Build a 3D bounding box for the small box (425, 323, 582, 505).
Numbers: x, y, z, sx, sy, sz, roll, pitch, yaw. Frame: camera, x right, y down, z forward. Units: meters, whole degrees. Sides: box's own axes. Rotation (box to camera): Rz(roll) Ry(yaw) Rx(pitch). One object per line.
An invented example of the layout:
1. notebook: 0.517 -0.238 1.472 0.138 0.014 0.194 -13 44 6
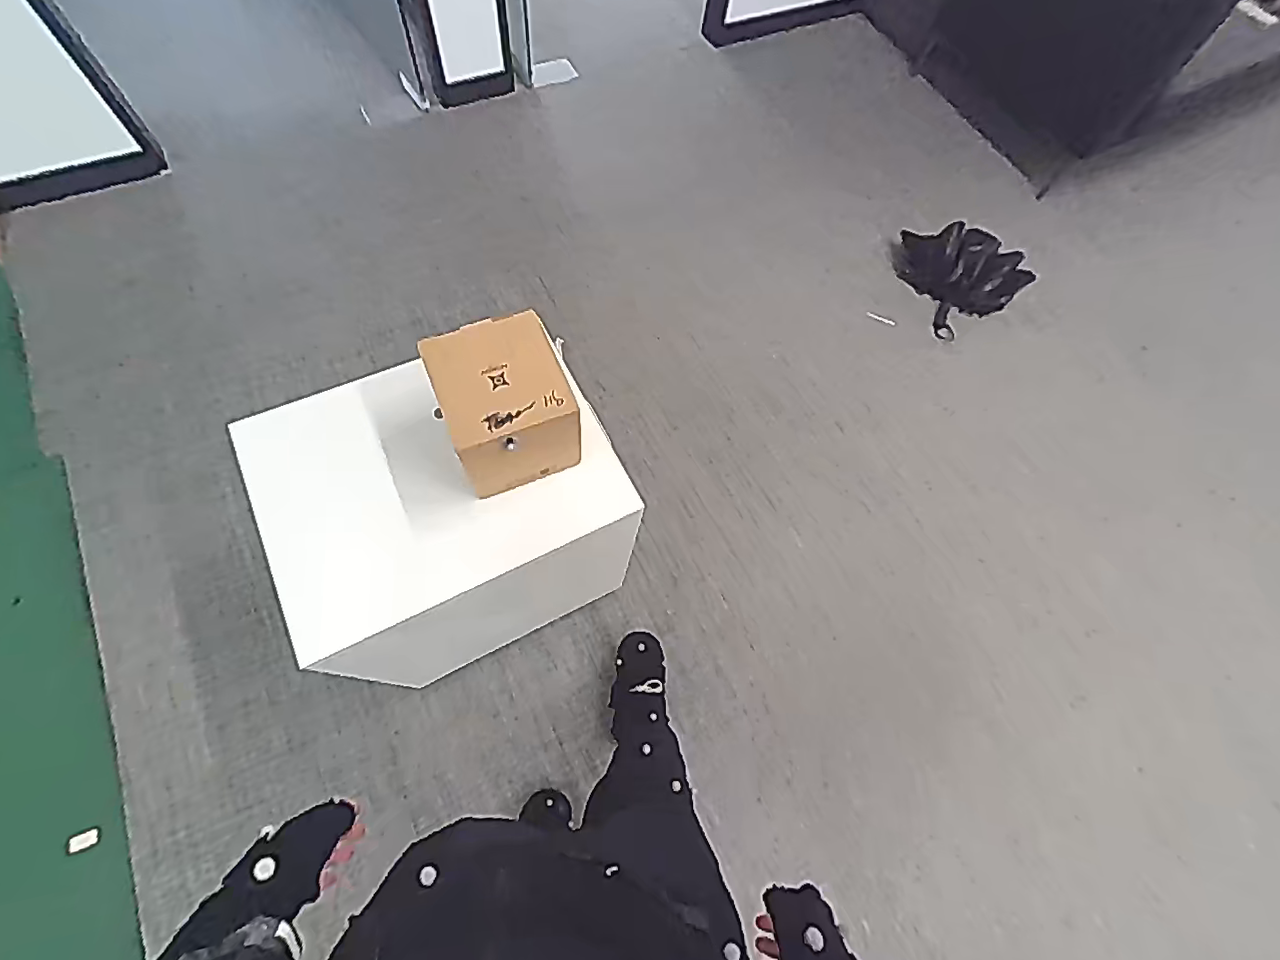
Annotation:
1. small box: -0.191 -0.091 0.788 0.168 0.176 0.179 -21 69 -13
